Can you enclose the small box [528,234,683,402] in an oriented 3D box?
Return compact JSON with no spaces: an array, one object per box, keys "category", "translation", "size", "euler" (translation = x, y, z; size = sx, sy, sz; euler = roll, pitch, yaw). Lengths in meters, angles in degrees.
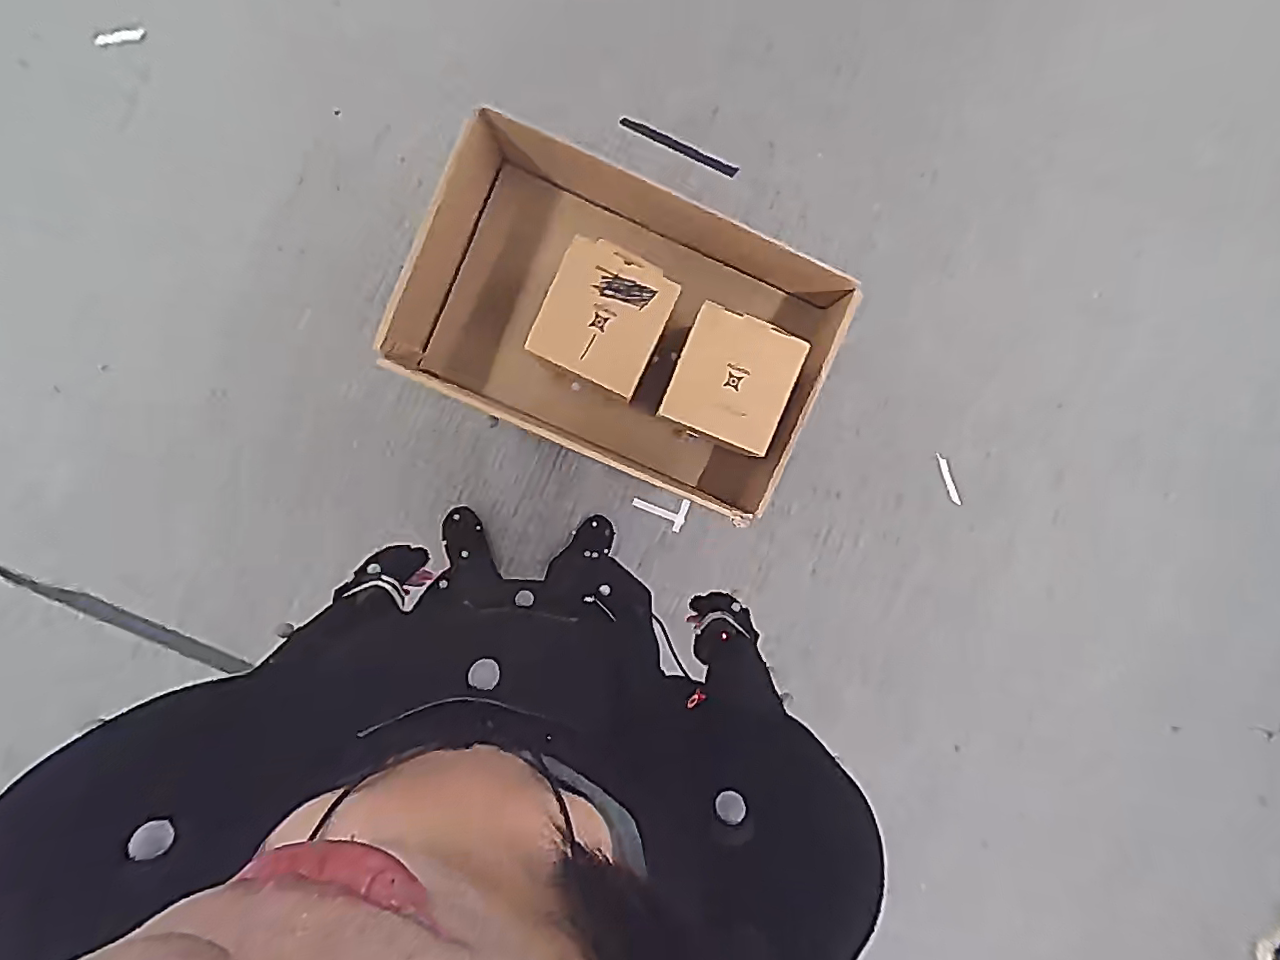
[{"category":"small box","translation":[-0.052,-0.233,0.830],"size":[0.168,0.176,0.179],"euler":[25,93,-3]}]
